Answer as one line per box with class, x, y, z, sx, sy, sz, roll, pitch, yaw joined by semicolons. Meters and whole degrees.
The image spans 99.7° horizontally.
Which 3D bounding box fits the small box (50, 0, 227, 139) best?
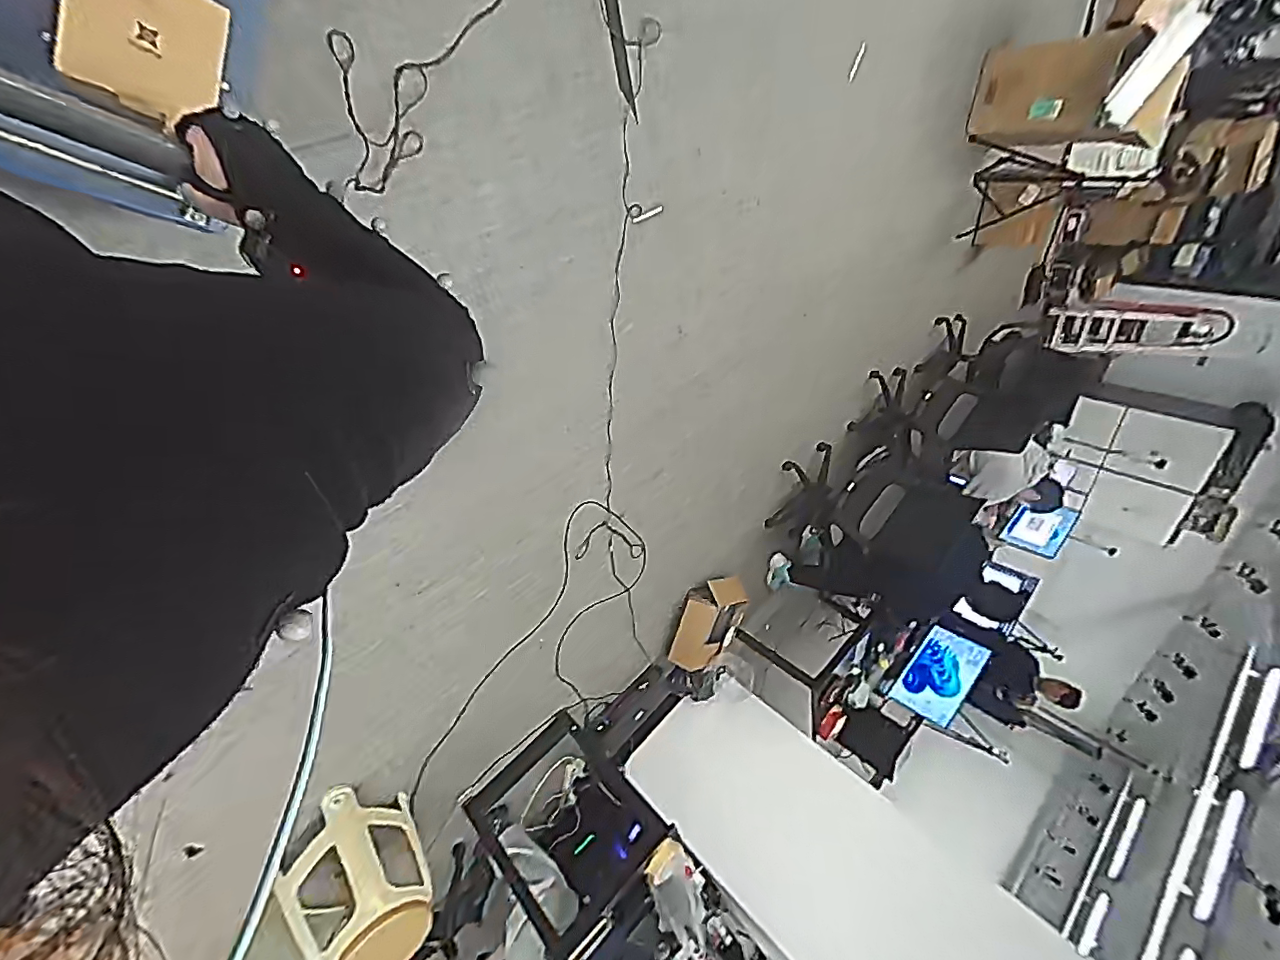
small box;-0.736;-0.633;0.795;0.168;0.176;0.179;6;106;-48
